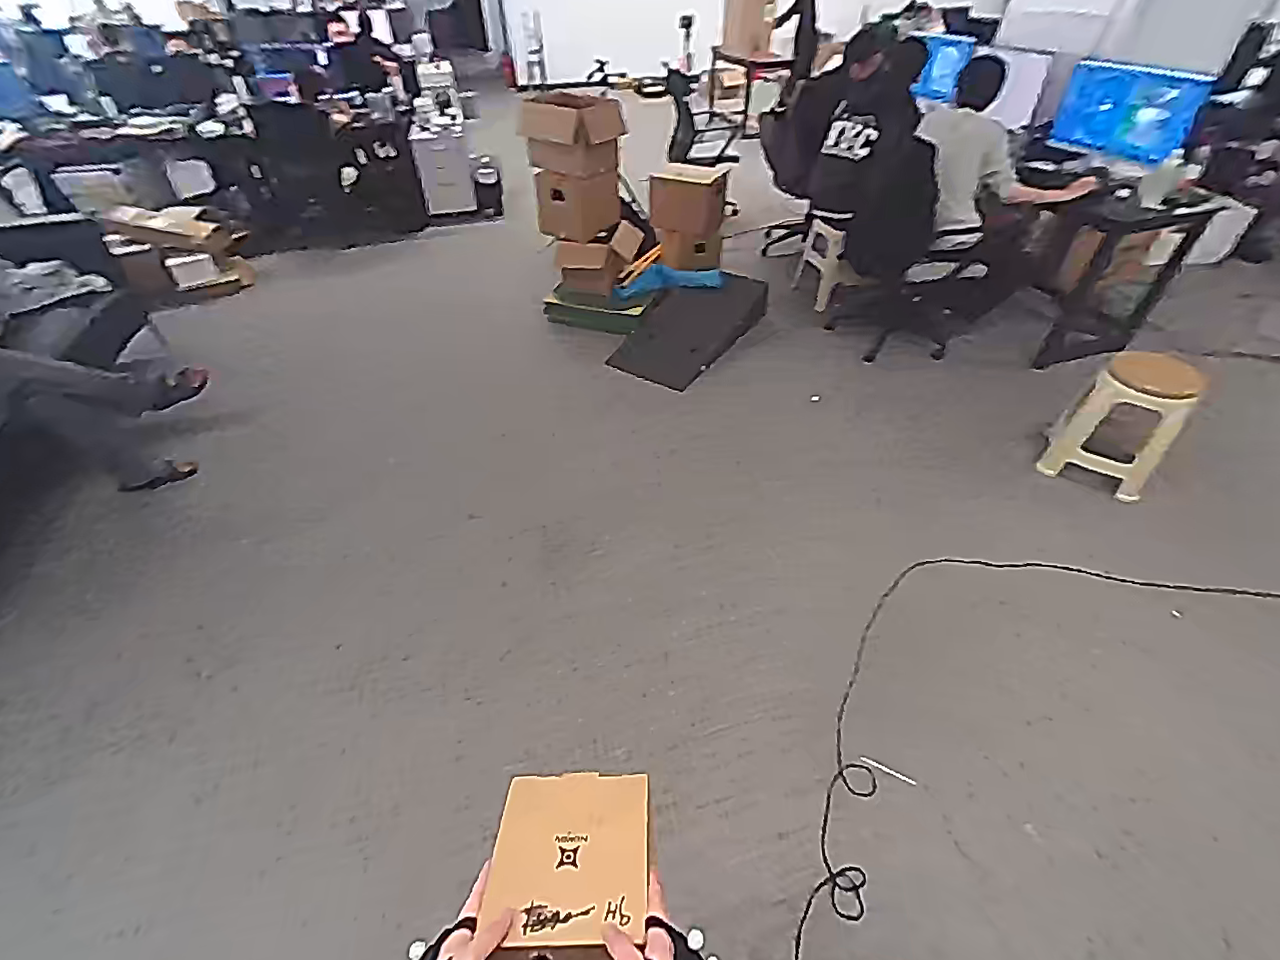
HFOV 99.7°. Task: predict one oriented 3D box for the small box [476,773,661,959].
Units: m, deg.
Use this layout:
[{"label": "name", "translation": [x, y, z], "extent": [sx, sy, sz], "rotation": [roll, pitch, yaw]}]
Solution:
[{"label": "small box", "translation": [-0.065, 0.462, 0.605], "extent": [0.168, 0.176, 0.179], "rotation": [-3, 23, 4]}]
